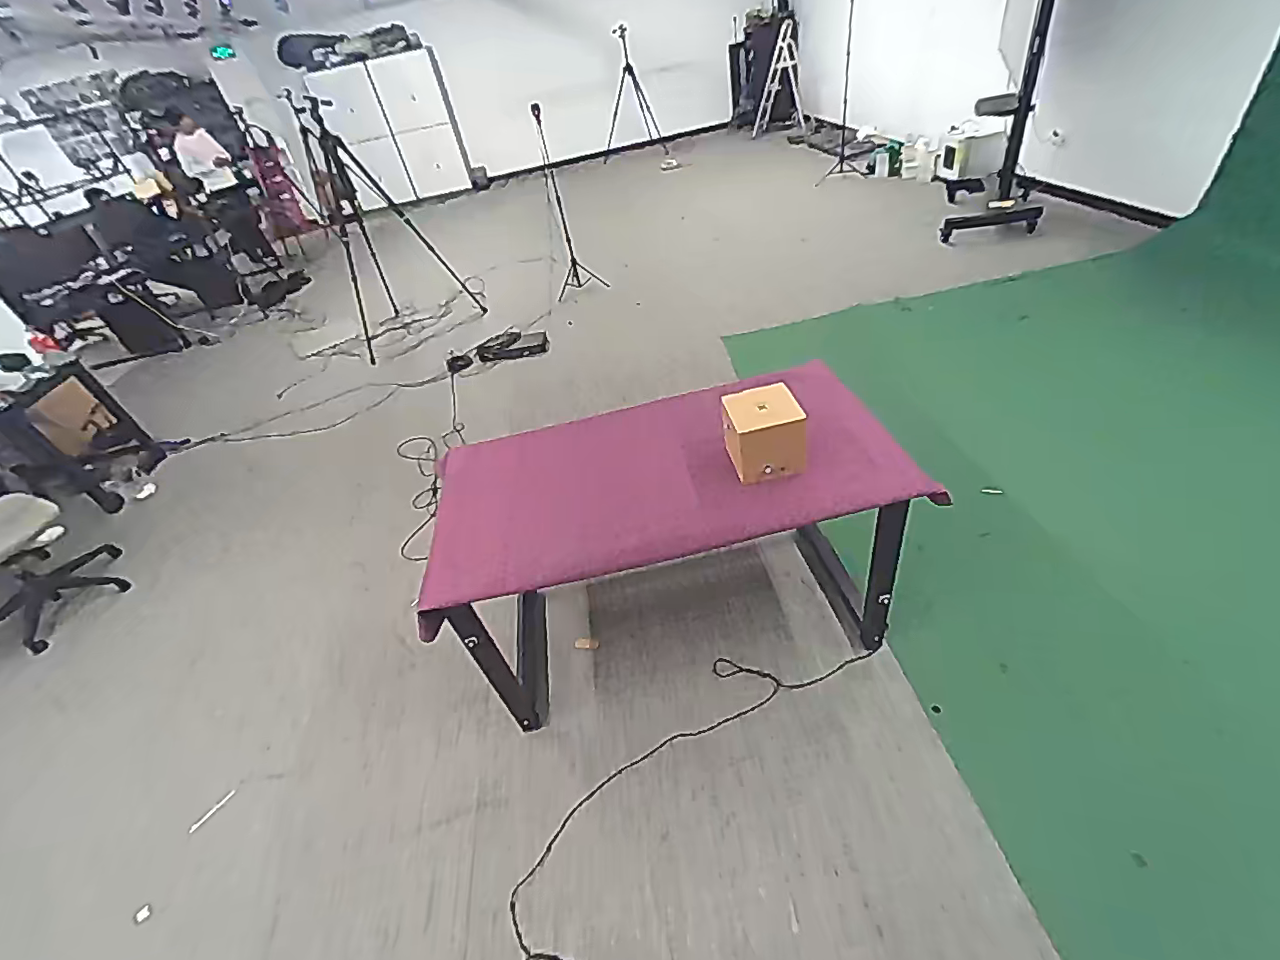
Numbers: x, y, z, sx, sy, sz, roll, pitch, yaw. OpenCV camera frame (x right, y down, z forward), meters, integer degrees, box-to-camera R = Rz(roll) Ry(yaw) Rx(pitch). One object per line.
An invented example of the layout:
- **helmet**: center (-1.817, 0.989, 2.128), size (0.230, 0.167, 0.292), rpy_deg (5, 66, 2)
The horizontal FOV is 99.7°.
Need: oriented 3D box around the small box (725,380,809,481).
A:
- **small box**: center (0.316, -0.124, 1.356), size (0.168, 0.176, 0.179), rpy_deg (-13, 39, 3)
